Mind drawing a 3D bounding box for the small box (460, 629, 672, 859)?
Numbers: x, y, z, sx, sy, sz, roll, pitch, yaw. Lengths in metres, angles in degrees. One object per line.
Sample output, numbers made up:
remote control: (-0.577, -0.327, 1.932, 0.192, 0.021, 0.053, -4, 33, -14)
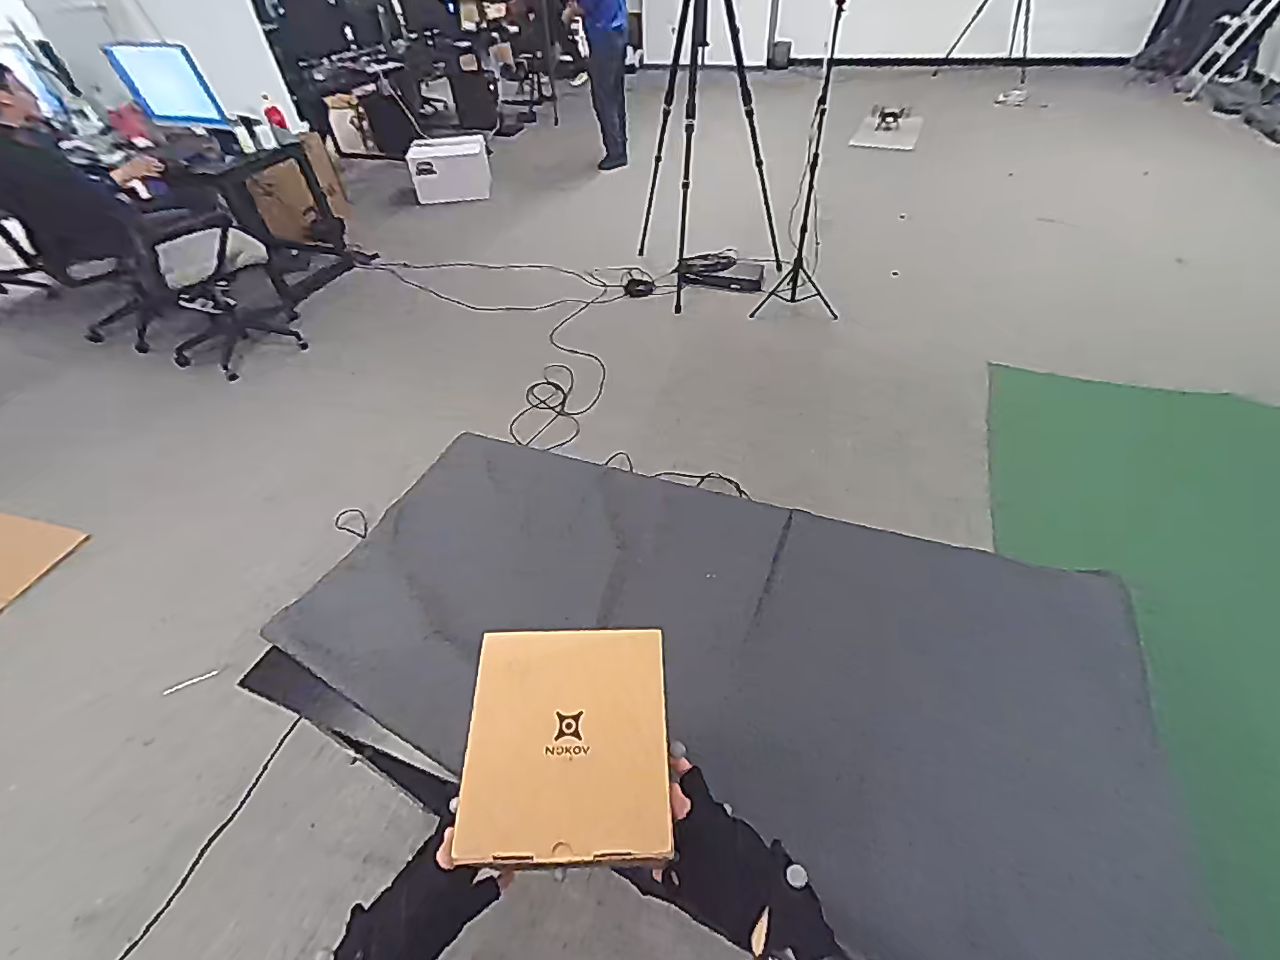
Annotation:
small box: (-0.060, 0.259, 0.525, 0.168, 0.176, 0.179, 0, 55, -2)
